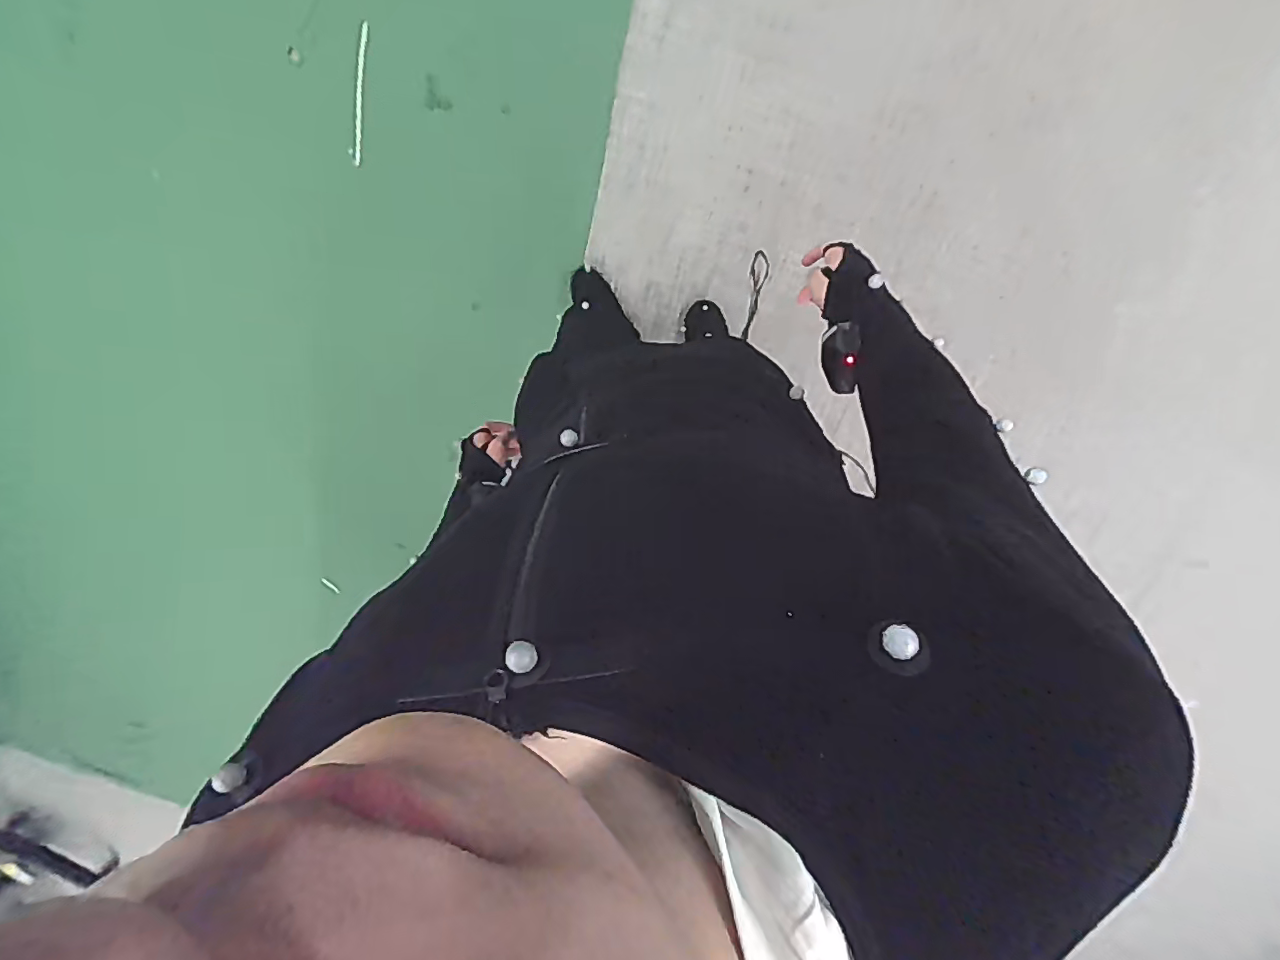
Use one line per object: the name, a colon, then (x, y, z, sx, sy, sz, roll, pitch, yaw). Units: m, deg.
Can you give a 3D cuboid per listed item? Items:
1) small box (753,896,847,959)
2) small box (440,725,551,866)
small box: (0.360, 1.099, 1.232, 0.168, 0.176, 0.179, 16, 115, 2)
small box: (-0.300, 0.661, 1.144, 0.168, 0.176, 0.179, 18, 116, 0)
